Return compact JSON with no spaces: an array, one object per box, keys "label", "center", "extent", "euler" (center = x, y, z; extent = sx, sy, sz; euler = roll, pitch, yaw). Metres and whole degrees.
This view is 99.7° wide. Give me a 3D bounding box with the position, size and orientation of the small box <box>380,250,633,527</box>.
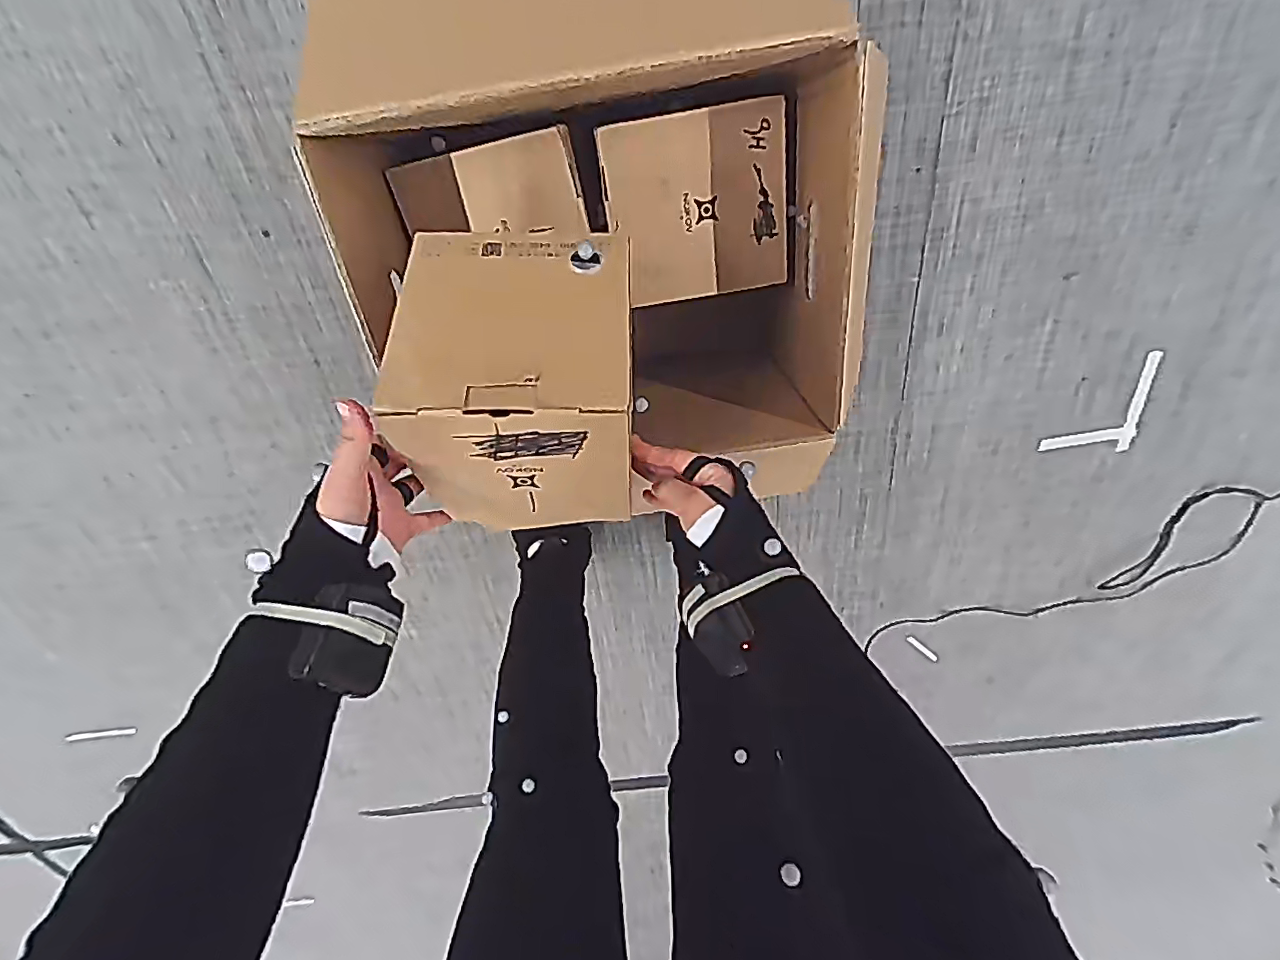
[{"label":"small box","center":[-0.091,-0.071,0.457],"extent":[0.168,0.176,0.179],"euler":[0,152,-2]}]
